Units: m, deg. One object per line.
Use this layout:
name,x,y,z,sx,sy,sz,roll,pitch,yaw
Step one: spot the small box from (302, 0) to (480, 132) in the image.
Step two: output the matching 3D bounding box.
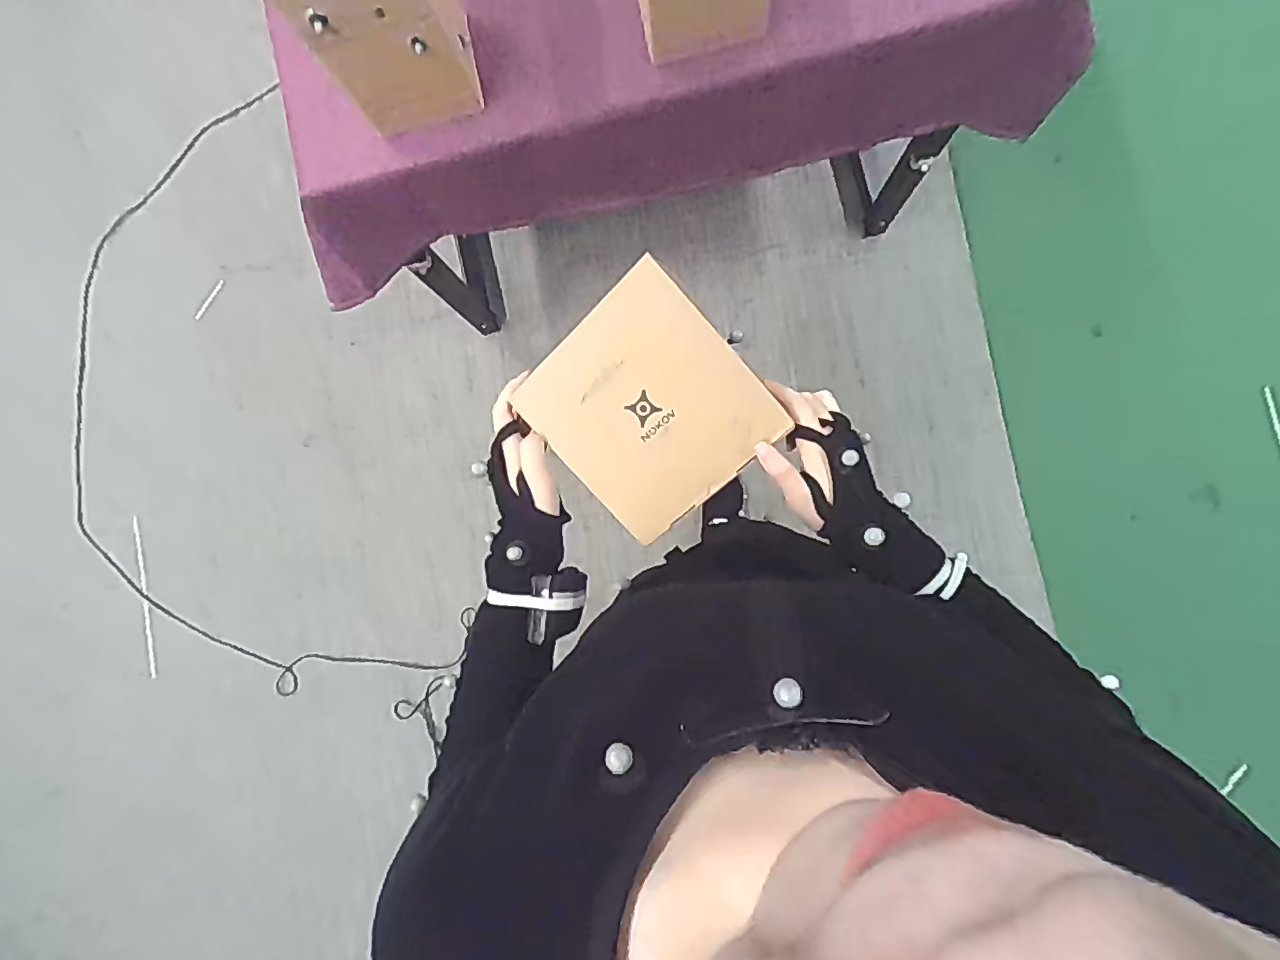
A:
small box,-0.352,-0.637,0.769,0.179,0.176,0.168,-13,85,2

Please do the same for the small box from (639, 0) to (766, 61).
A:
small box,0.079,-0.727,0.742,0.179,0.176,0.168,-11,86,3

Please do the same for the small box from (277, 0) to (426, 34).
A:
small box,-0.362,-0.651,0.606,0.168,0.176,0.179,-13,84,2
